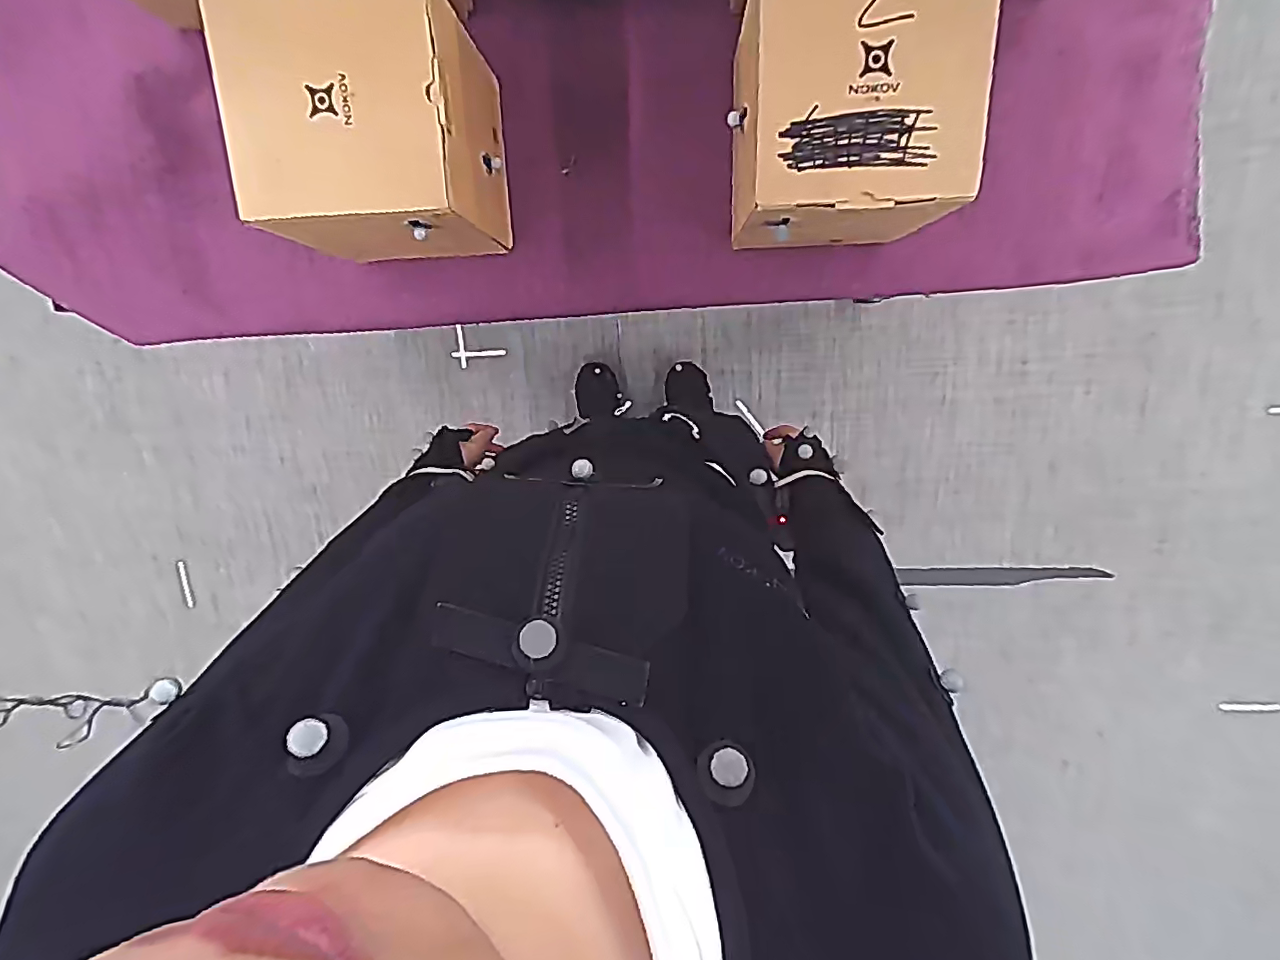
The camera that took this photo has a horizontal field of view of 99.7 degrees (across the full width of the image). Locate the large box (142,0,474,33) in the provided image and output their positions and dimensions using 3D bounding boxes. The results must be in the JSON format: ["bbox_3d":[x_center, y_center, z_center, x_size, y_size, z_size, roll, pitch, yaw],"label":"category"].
[{"bbox_3d":[-0.327,-0.614,0.358,0.320,0.320,0.408,0,106,4],"label":"large box"}]
